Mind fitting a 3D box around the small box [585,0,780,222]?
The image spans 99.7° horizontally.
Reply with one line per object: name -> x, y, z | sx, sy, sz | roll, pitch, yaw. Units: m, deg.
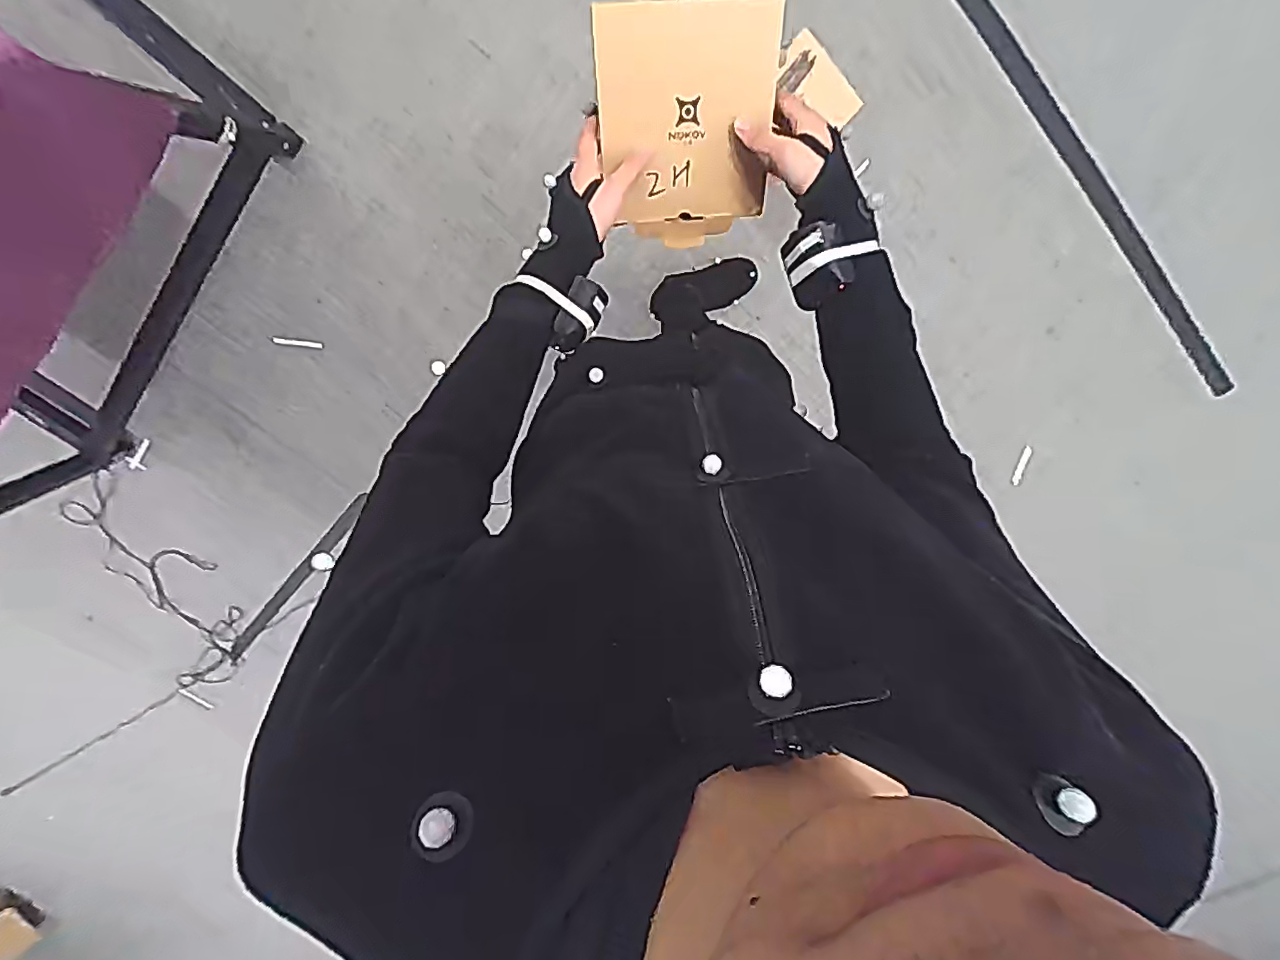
small box -> 0.032, -0.388, 0.558 | 0.168, 0.176, 0.179 | -4, 132, -1

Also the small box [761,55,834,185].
small box -> 0.304, -0.804, 1.233 | 0.168, 0.176, 0.179 | 37, 110, -15
